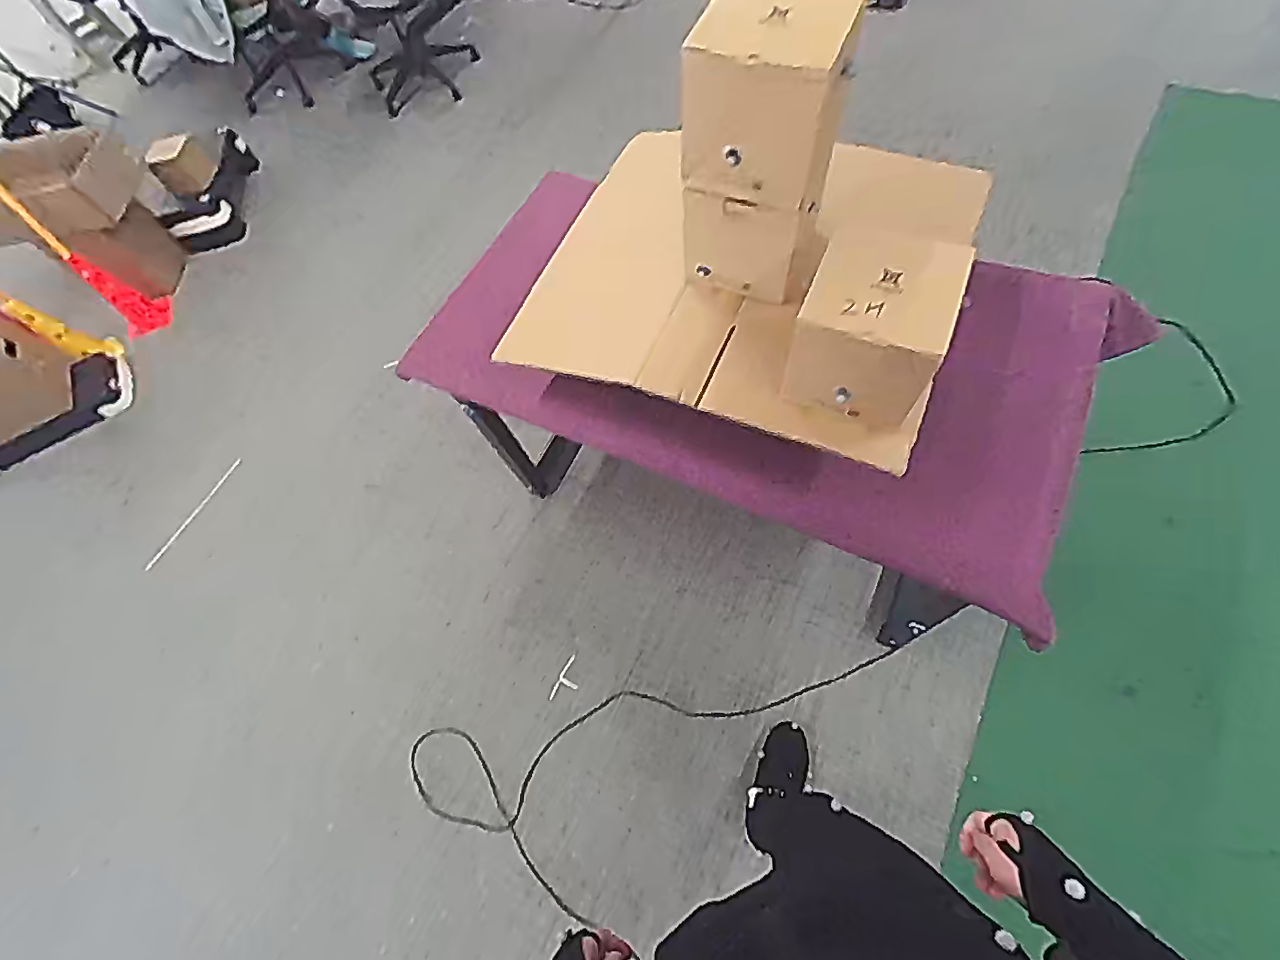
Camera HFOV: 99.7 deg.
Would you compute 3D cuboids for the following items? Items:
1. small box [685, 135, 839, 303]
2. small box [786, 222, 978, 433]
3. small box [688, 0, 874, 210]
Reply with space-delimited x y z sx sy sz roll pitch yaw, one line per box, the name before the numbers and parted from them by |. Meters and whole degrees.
small box | 0.178 -0.399 0.814 0.168 0.176 0.179 21 69 14
small box | 0.301 -0.192 0.704 0.168 0.176 0.179 21 70 16
small box | 0.164 -0.474 0.670 0.168 0.176 0.179 20 70 14
